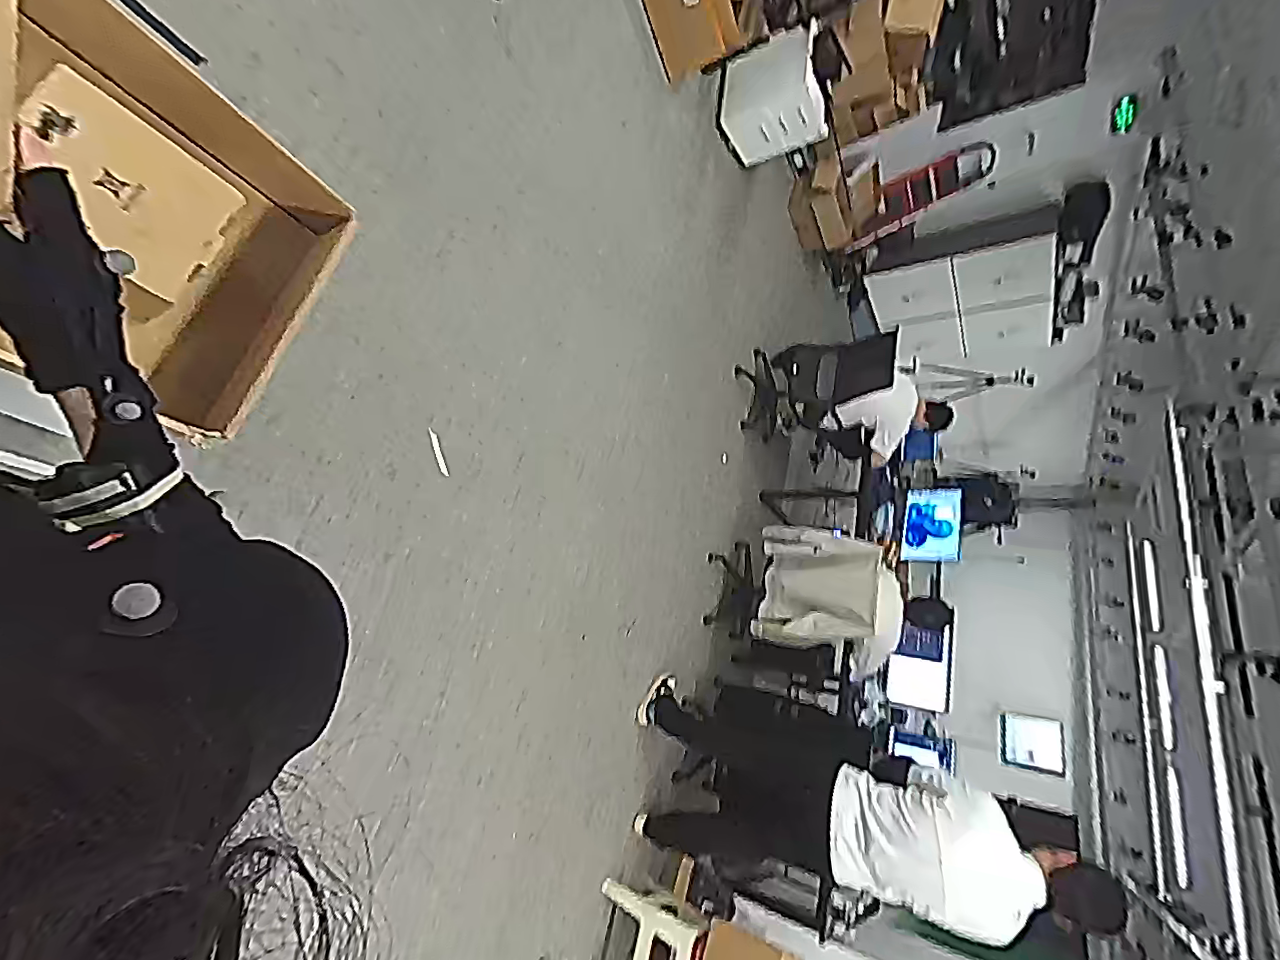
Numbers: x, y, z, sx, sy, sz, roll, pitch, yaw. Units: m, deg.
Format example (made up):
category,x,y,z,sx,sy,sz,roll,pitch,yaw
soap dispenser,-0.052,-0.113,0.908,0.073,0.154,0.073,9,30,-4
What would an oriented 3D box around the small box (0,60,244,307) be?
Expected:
category,x,y,z,sx,sy,sz,roll,pitch,yaw
small box,-0.621,-0.321,0.628,0.179,0.176,0.168,39,63,-47
